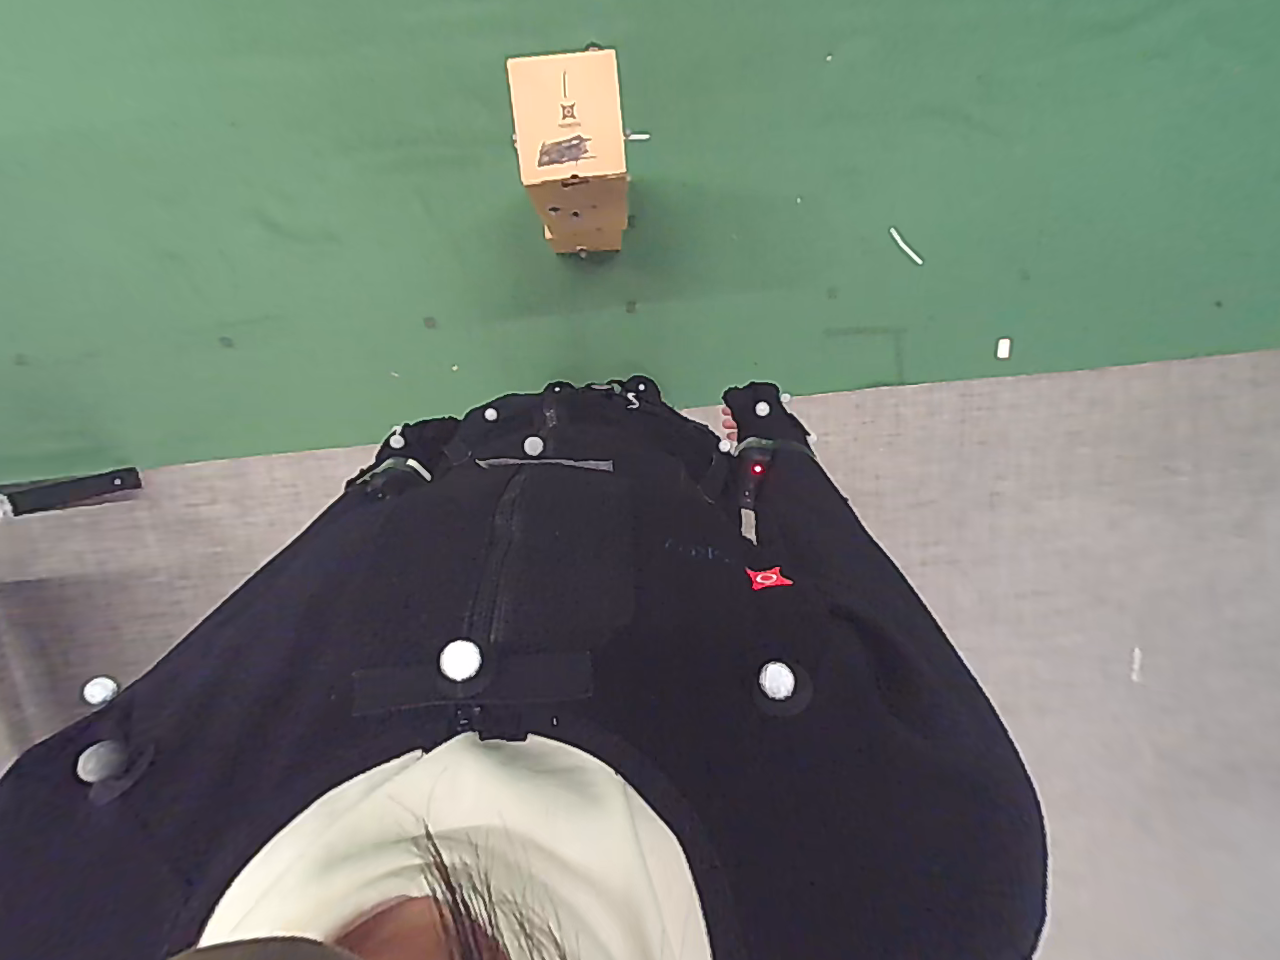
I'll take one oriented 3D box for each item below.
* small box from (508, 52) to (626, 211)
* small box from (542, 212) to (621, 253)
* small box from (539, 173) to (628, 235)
[{"bbox_3d":[-0.111,-0.563,0.900,0.168,0.176,0.179,-6,101,-1],"label":"small box"},{"bbox_3d":[-0.128,-0.618,1.205,0.168,0.176,0.179,-2,102,0],"label":"small box"},{"bbox_3d":[-0.114,-0.596,1.062,0.168,0.176,0.179,-6,100,-1],"label":"small box"}]
